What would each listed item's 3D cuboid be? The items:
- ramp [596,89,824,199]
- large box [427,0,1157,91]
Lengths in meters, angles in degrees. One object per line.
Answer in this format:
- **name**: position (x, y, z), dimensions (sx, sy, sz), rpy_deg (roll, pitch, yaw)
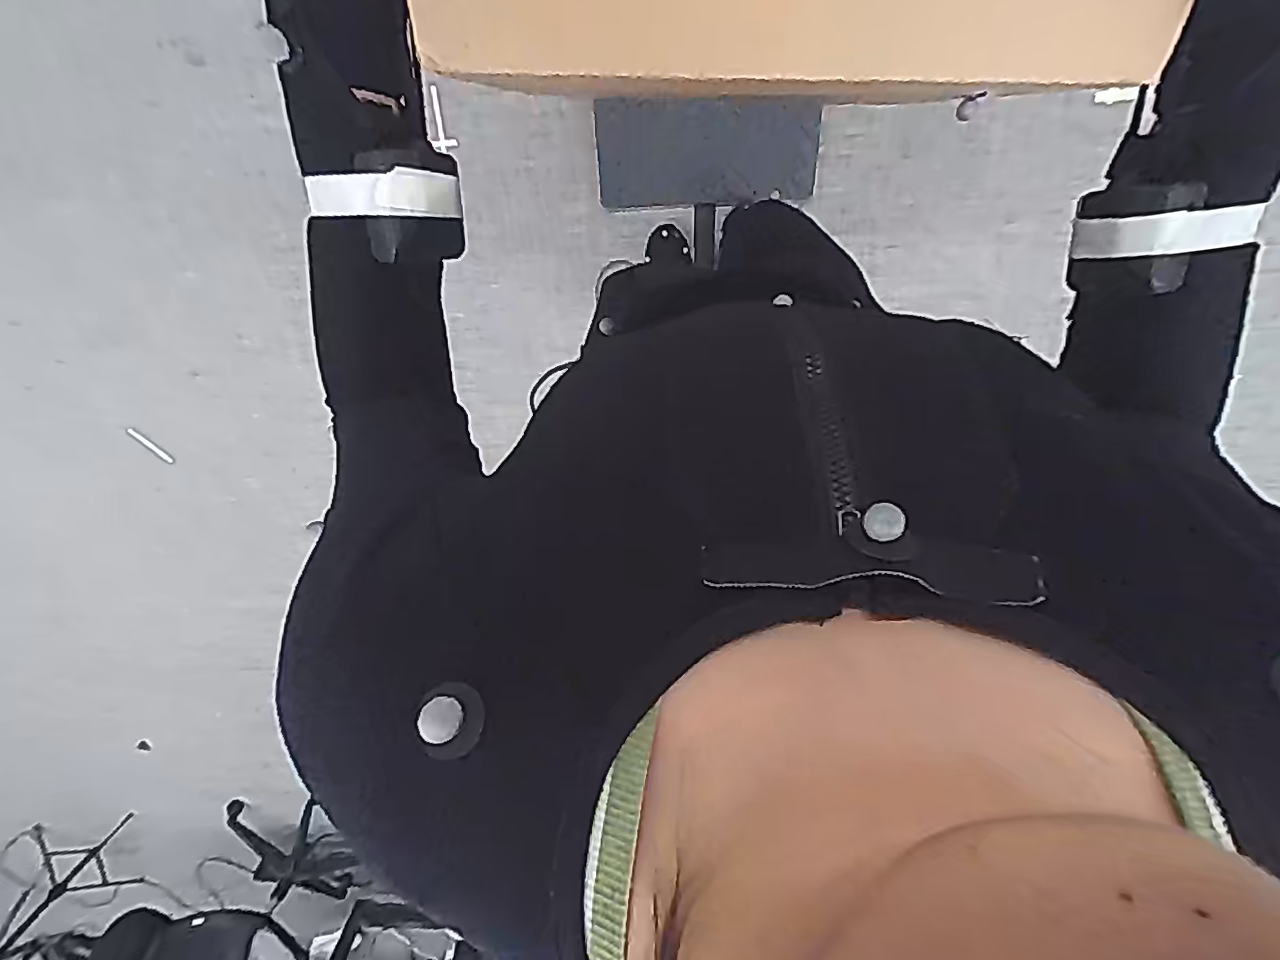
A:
- **ramp**: position (0.134, -1.077, 0.979), dimensions (0.509, 0.206, 0.991), rpy_deg (-3, 115, 3)
- **large box**: position (0.084, -0.443, 0.348), dimensions (0.408, 0.320, 0.320), rpy_deg (1, 123, 0)
